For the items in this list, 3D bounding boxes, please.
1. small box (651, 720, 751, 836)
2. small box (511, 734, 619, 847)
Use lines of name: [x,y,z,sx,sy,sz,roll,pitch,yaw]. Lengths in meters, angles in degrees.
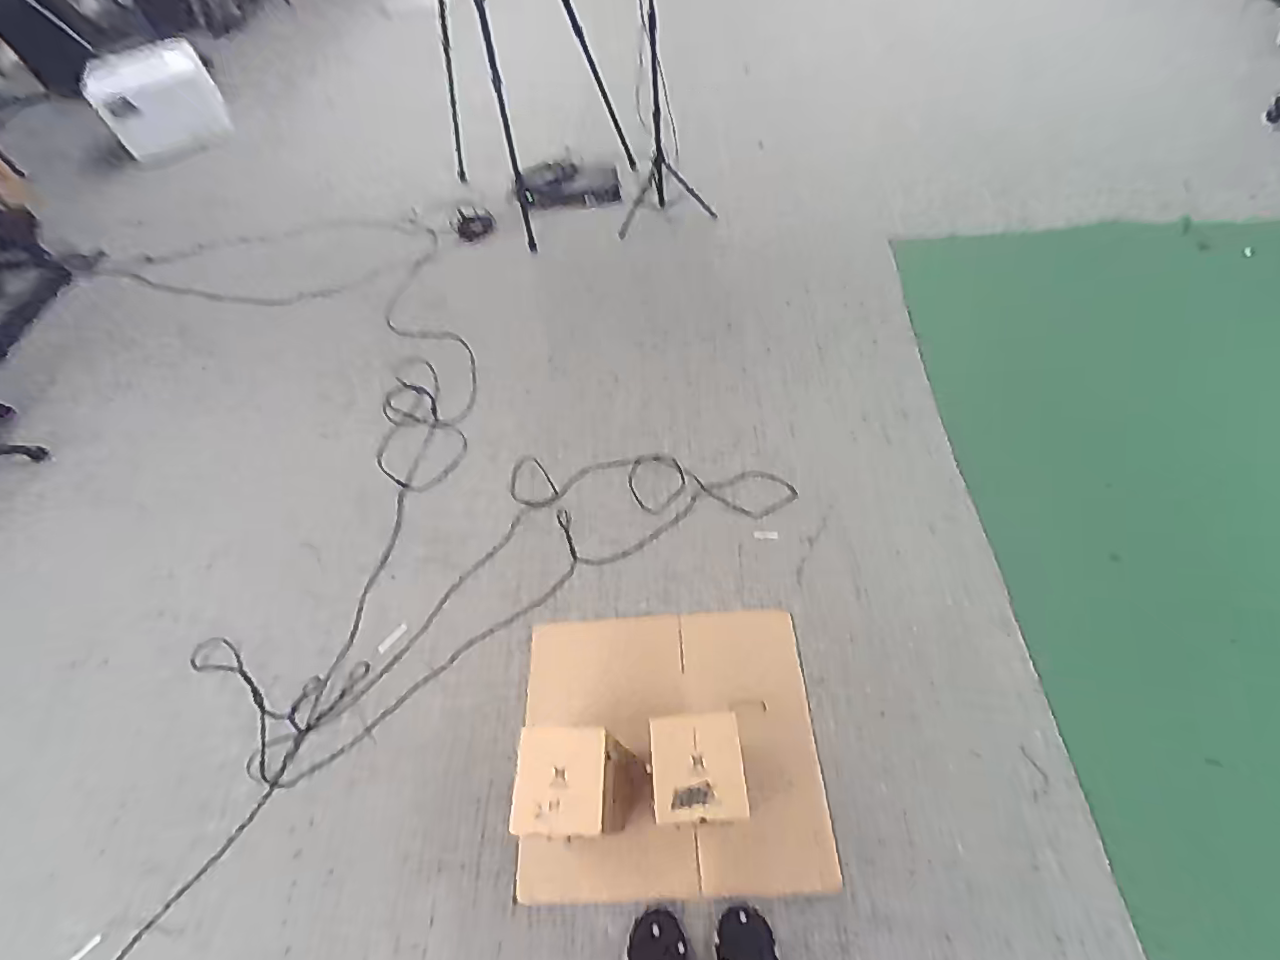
small box: [0.113,0.573,1.037,0.168,0.176,0.179,-5,56,2]
small box: [-0.134,0.599,1.042,0.168,0.176,0.179,-2,57,6]
